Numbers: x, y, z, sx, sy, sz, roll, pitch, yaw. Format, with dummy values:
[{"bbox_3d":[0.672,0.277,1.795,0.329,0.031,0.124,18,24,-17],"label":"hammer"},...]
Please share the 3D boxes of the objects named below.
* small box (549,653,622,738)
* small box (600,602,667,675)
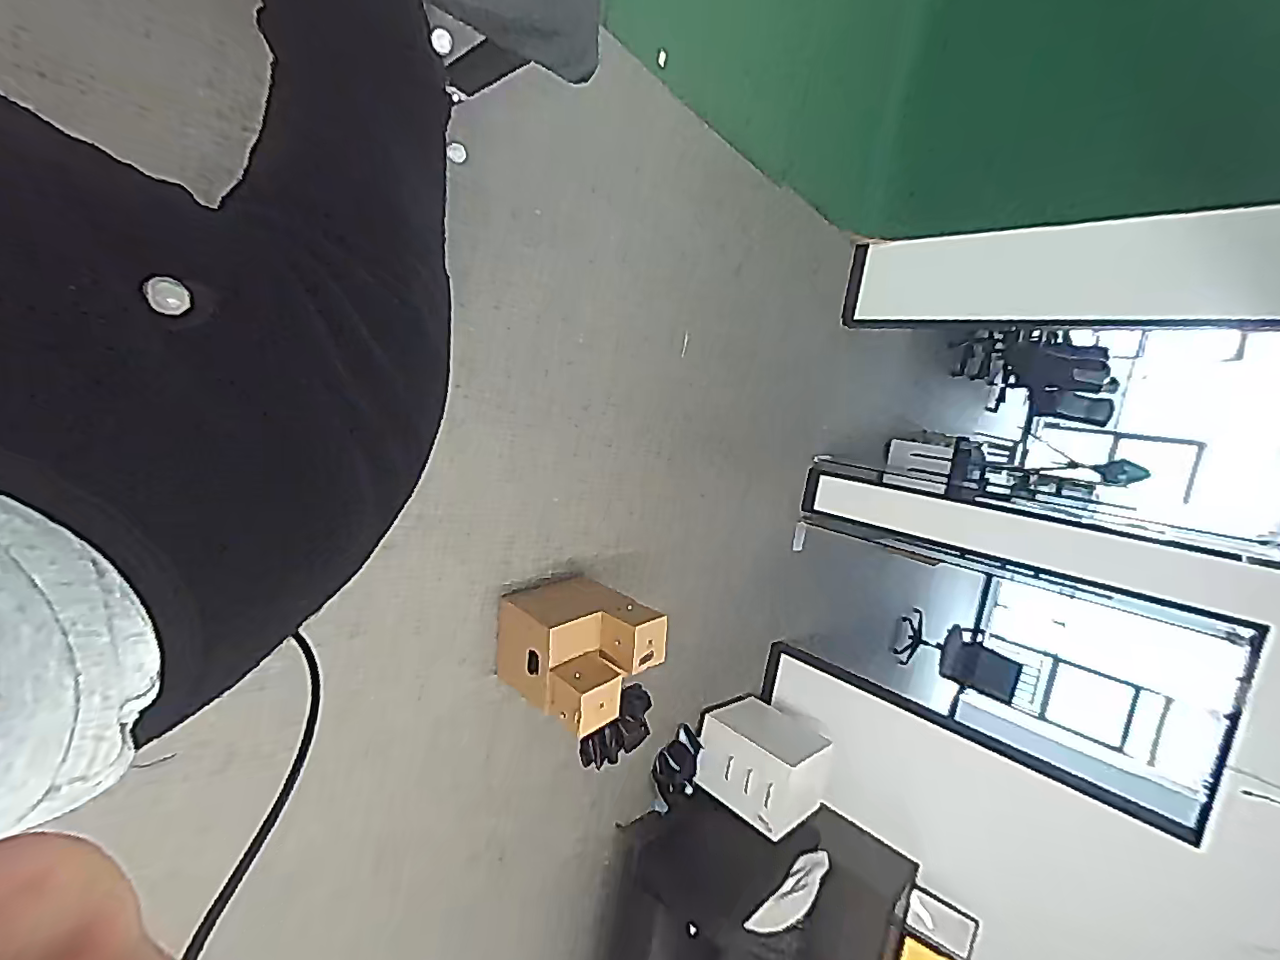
[{"bbox_3d":[-0.183,0.704,1.787,0.179,0.176,0.168,-11,113,-46],"label":"small box"},{"bbox_3d":[-0.025,0.553,1.910,0.168,0.176,0.179,-5,102,-46],"label":"small box"}]
